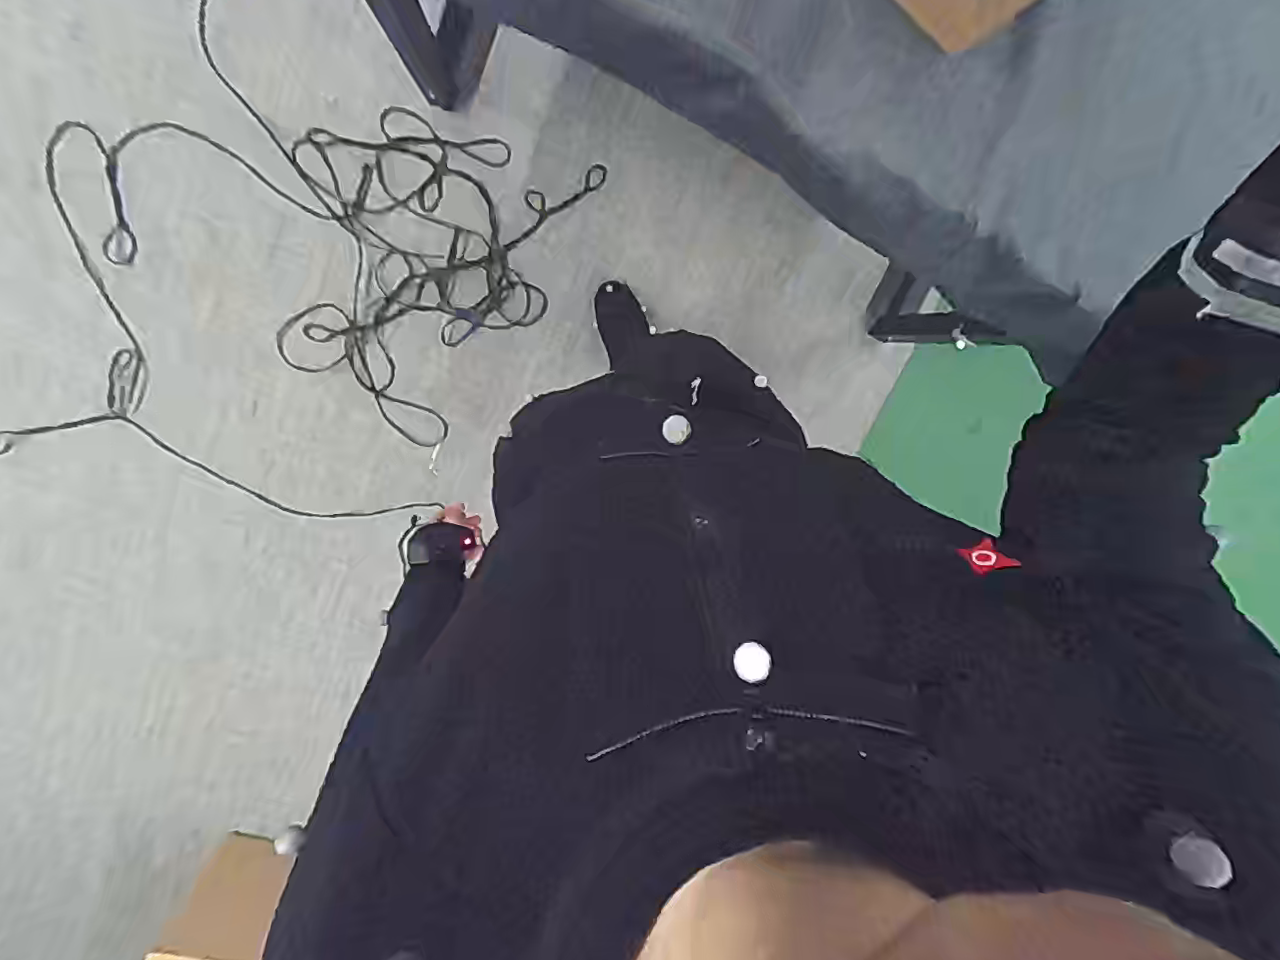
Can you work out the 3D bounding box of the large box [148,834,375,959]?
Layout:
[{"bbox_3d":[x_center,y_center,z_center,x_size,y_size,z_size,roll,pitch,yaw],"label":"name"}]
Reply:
[{"bbox_3d":[-0.990,1.216,1.426,0.408,0.320,0.320,21,101,-12],"label":"large box"}]

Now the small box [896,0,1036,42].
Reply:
[{"bbox_3d":[0.300,-0.509,0.434,0.179,0.176,0.168,30,98,-13],"label":"small box"}]
